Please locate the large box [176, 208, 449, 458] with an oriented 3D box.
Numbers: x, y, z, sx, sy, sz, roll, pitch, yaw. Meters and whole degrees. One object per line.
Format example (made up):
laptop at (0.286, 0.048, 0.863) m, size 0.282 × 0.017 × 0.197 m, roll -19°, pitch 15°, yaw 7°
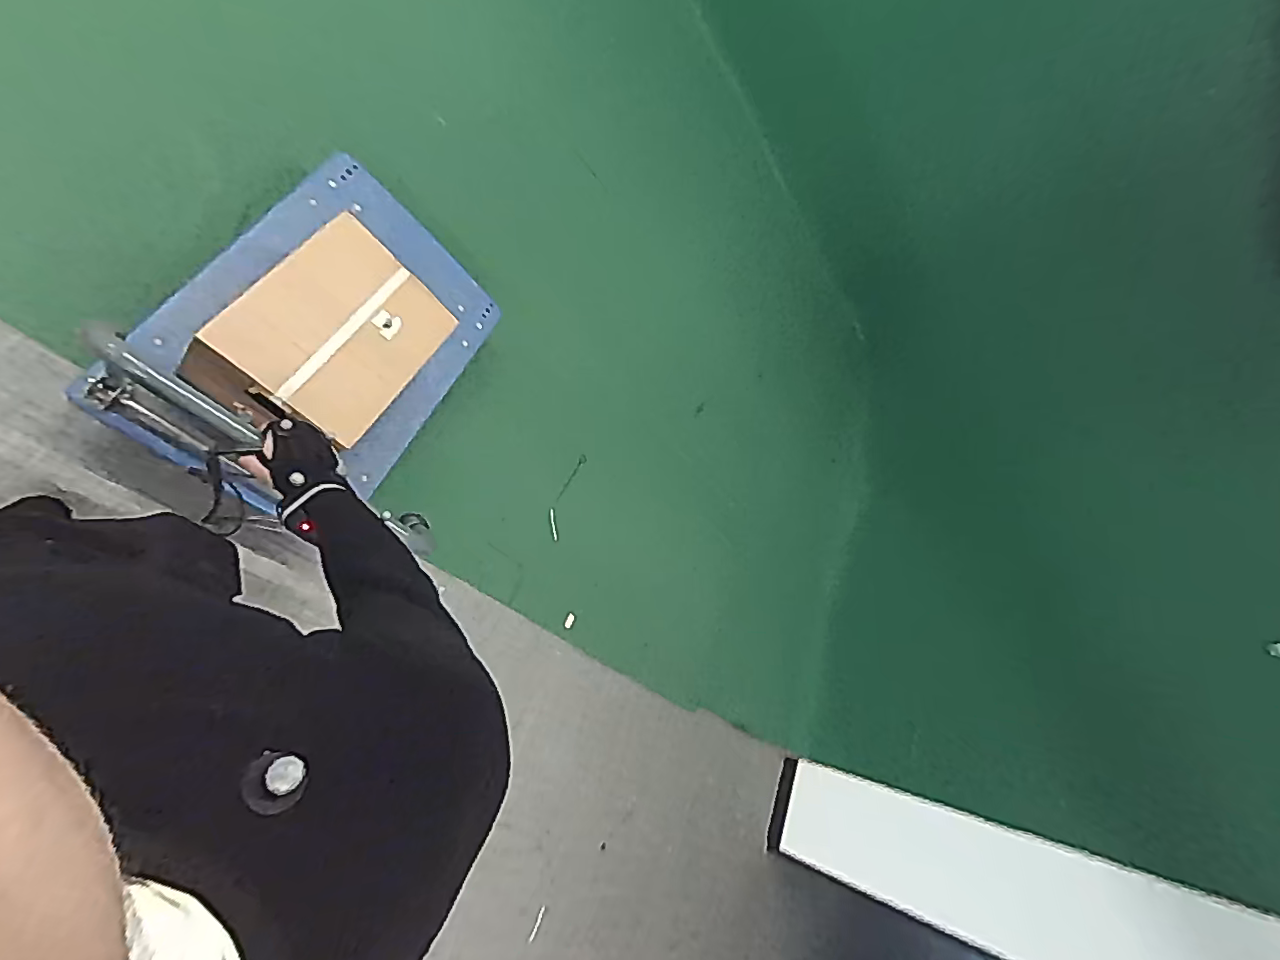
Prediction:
large box at (-0.721, -0.307, 1.213) m, size 0.320 × 0.320 × 0.408 m, roll 47°, pitch 55°, yaw -33°
